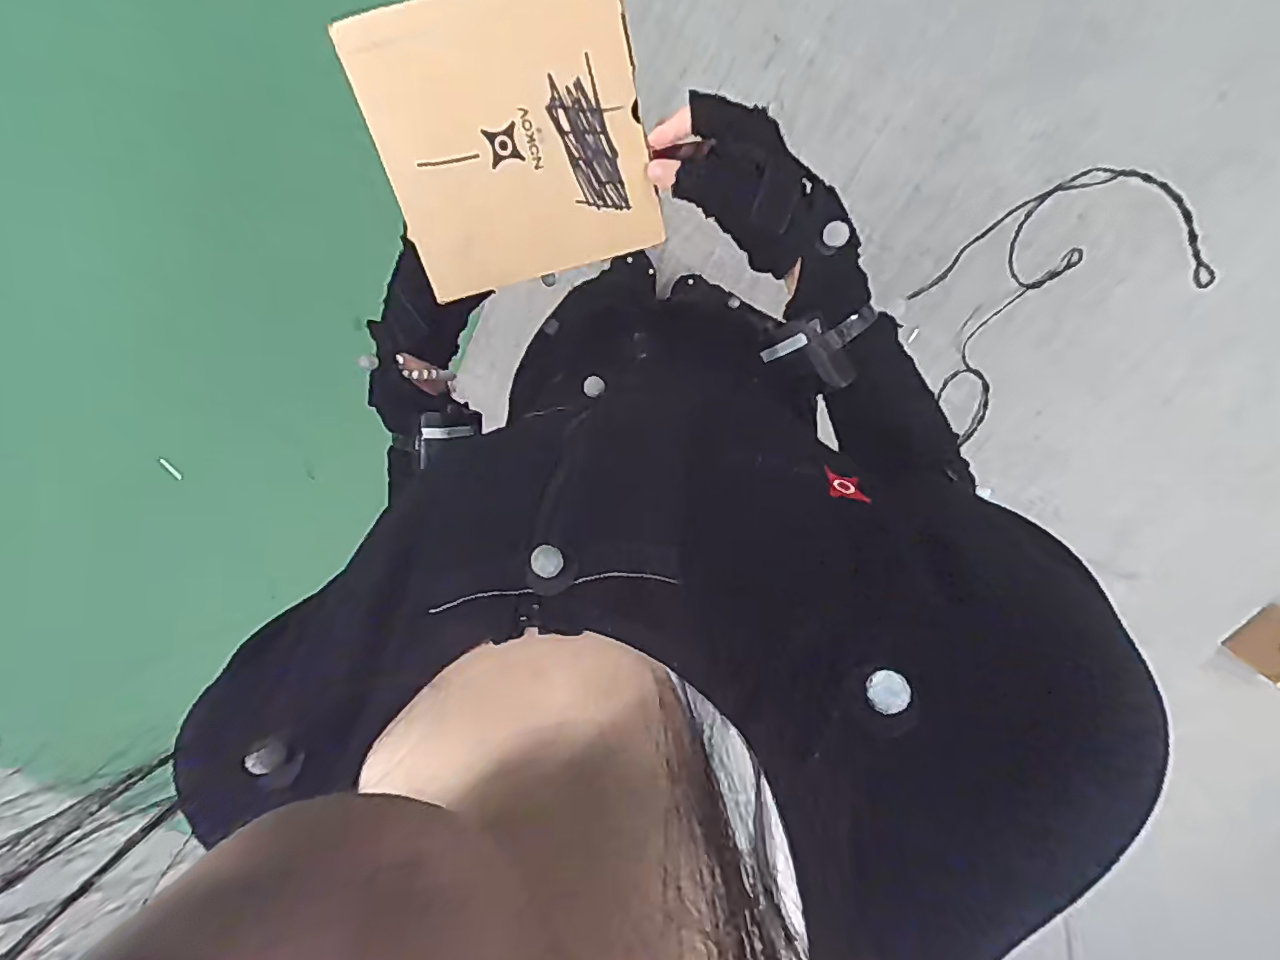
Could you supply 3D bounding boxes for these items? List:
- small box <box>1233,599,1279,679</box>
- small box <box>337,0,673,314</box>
[{"bbox_3d":[1.844,0.470,1.510,0.168,0.176,0.179,25,112,-6],"label":"small box"},{"bbox_3d":[-0.088,-0.246,0.420,0.179,0.176,0.168,-15,118,-1],"label":"small box"}]
